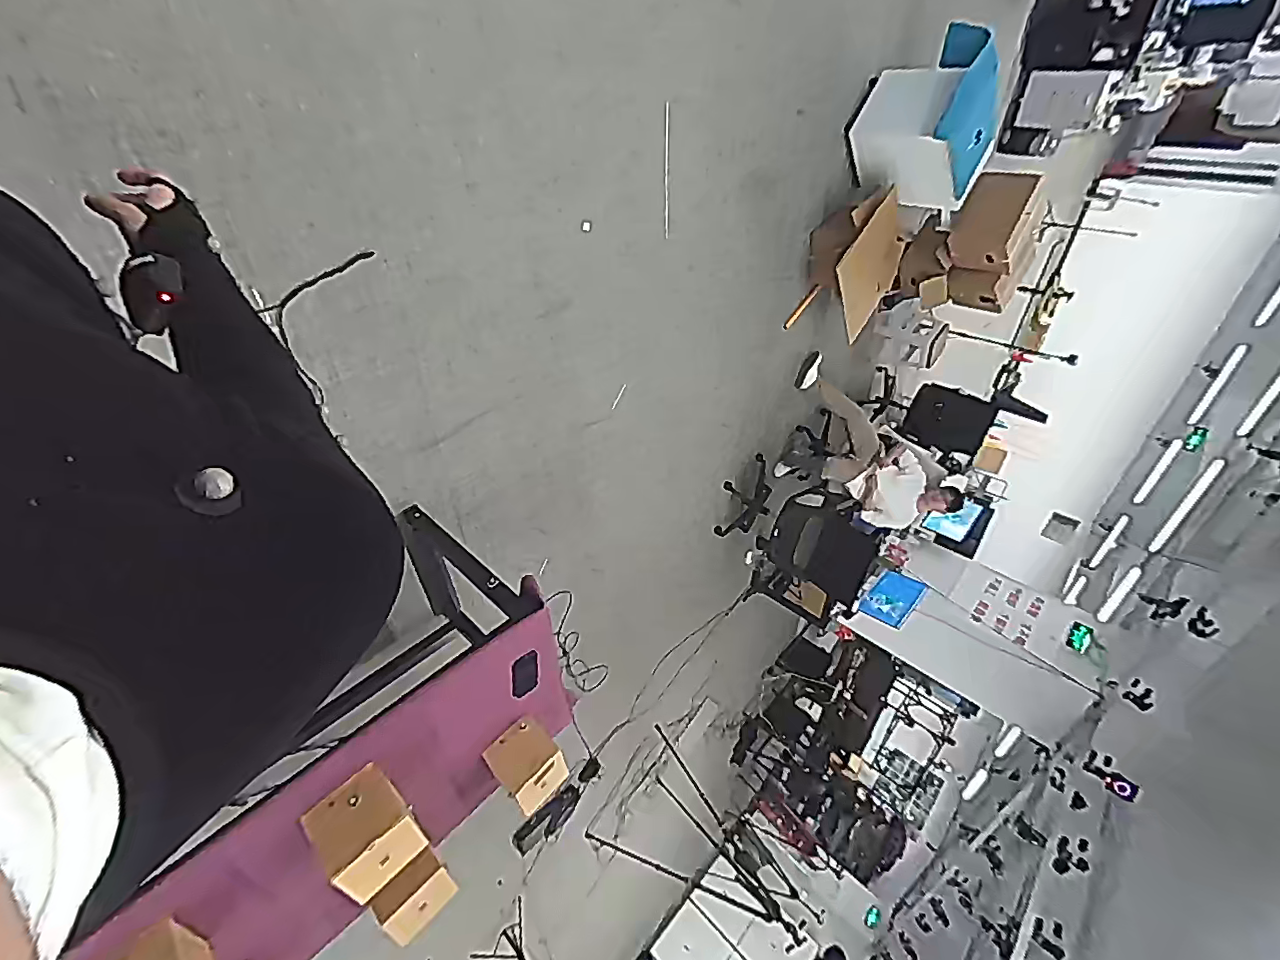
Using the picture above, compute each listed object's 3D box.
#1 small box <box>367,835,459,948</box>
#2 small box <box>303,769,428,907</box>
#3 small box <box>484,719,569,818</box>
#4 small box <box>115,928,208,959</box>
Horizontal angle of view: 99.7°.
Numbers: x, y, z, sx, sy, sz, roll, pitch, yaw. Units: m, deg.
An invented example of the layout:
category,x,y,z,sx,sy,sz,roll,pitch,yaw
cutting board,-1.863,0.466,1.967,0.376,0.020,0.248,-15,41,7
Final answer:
category,x,y,z,sx,sy,sz,roll,pitch,yaw
small box,-0.602,1.043,1.399,0.168,0.176,0.179,-35,137,-35
small box,-0.610,0.790,1.206,0.168,0.176,0.179,-35,139,-33
small box,-0.337,0.843,1.600,0.168,0.176,0.179,-36,139,-31
small box,-0.881,0.958,0.963,0.168,0.176,0.179,-33,137,-37
